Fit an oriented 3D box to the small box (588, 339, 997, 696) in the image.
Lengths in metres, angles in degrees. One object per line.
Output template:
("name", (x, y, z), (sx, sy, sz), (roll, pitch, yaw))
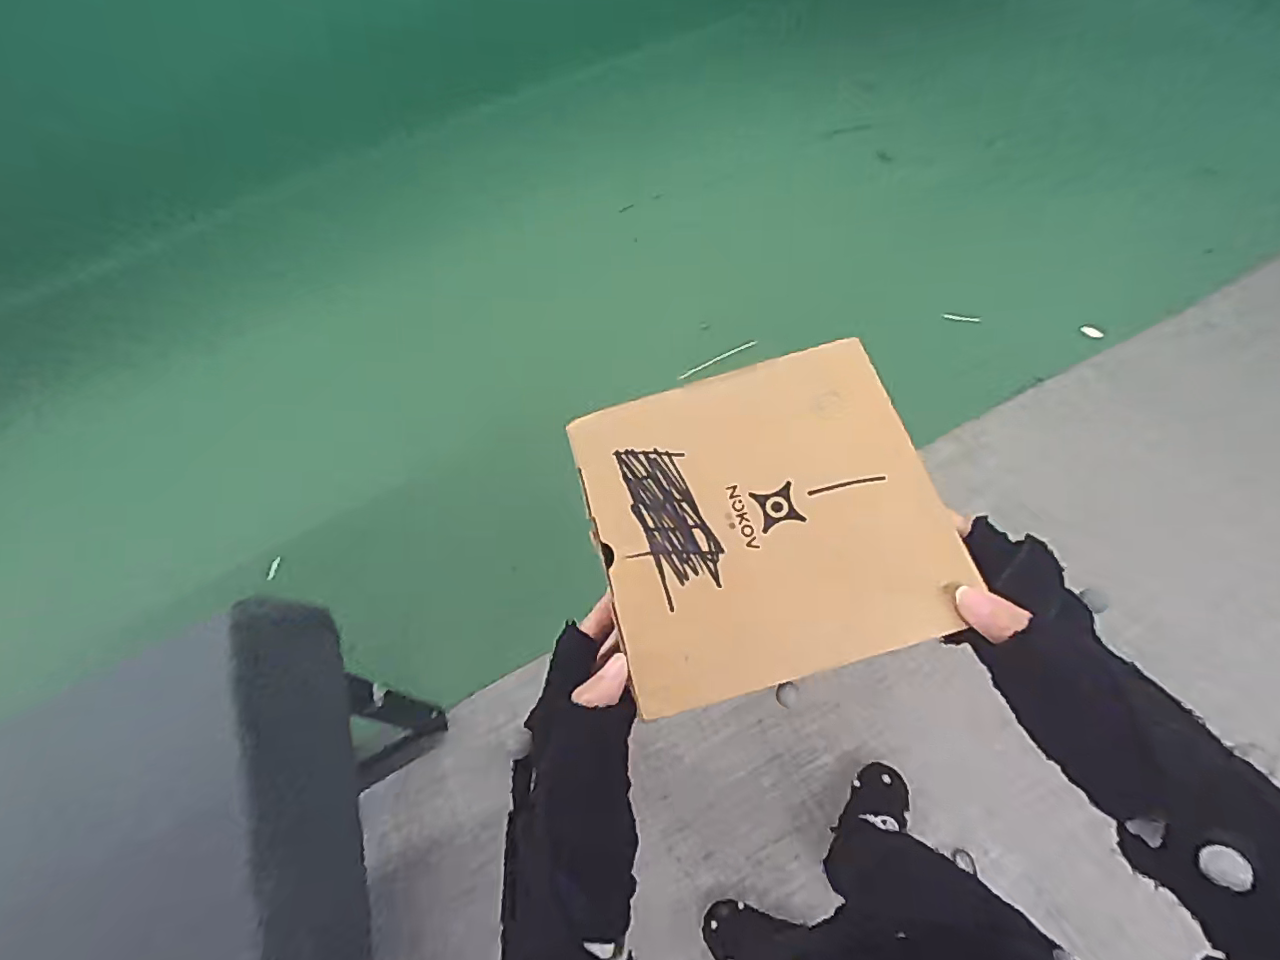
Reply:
("small box", (0.080, 0.040, 0.363), (0.179, 0.176, 0.168), (-16, 69, 1))
